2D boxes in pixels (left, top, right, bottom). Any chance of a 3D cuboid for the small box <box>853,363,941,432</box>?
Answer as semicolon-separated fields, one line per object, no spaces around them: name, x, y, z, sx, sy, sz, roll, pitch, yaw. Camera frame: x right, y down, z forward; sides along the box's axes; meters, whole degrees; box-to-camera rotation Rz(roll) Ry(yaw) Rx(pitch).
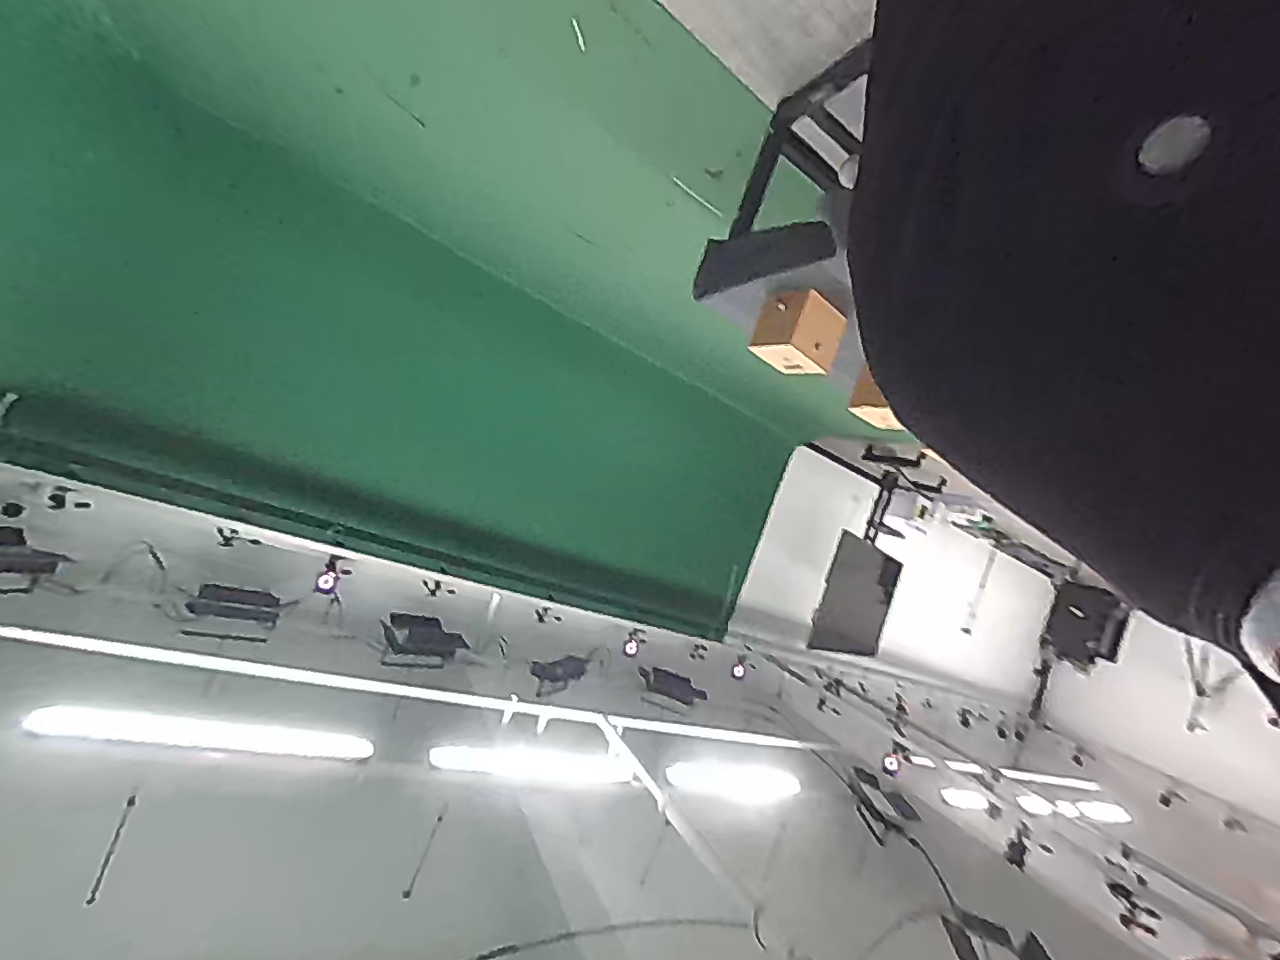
small box;0.820;-0.266;1.724;0.179;0.176;0.168;23;176;-30

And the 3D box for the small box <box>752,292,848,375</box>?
small box;0.459;-0.412;1.537;0.179;0.176;0.168;23;176;-34
